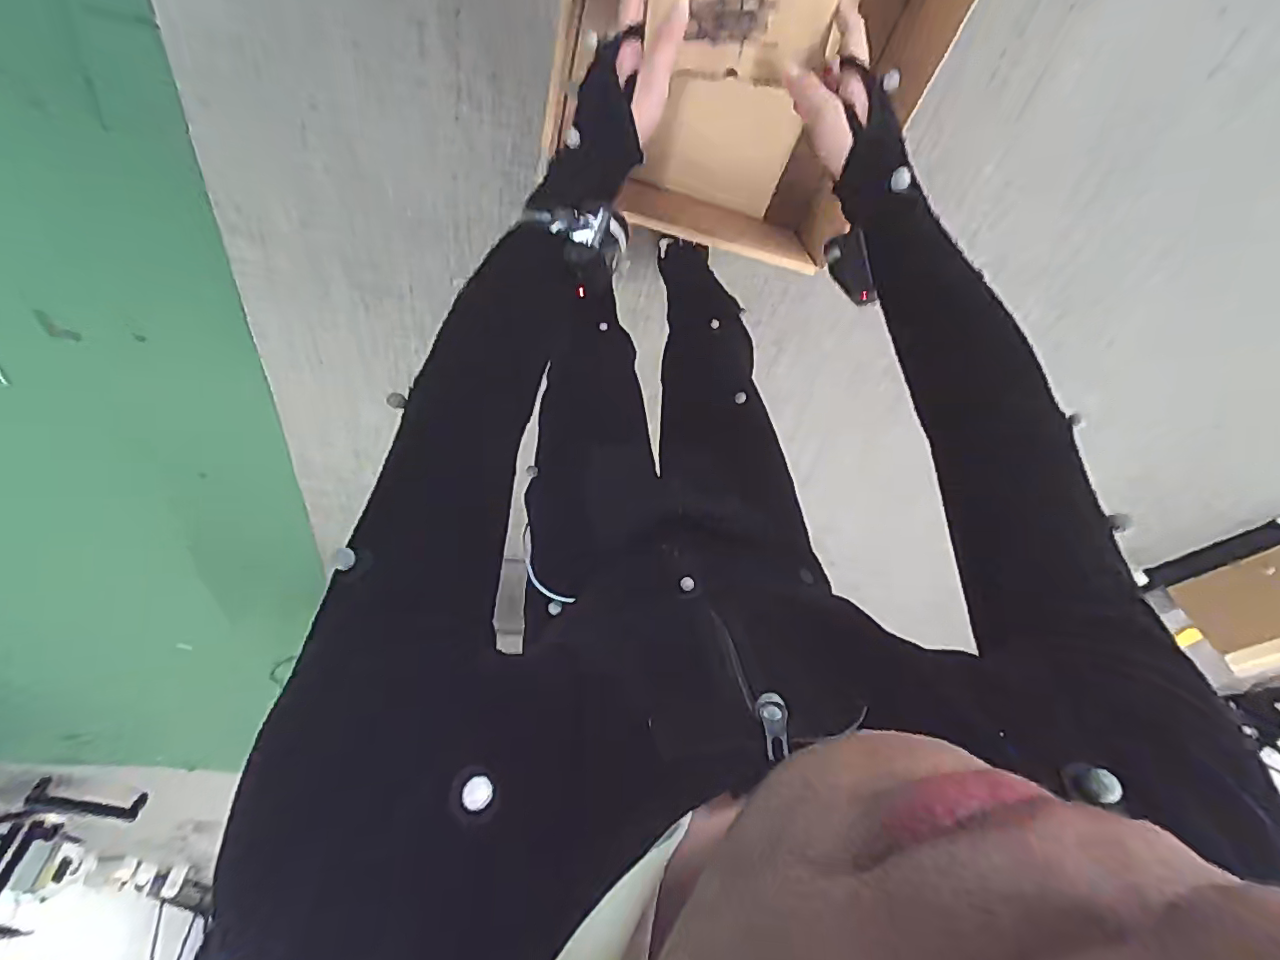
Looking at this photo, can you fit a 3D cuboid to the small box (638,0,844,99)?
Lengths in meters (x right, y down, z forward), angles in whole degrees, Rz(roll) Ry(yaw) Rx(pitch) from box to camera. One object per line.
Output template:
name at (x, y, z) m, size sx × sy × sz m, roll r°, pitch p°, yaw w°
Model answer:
small box at (0.088, -0.473, 0.485) m, size 0.168 × 0.176 × 0.179 m, roll 2°, pitch 136°, yaw -6°
